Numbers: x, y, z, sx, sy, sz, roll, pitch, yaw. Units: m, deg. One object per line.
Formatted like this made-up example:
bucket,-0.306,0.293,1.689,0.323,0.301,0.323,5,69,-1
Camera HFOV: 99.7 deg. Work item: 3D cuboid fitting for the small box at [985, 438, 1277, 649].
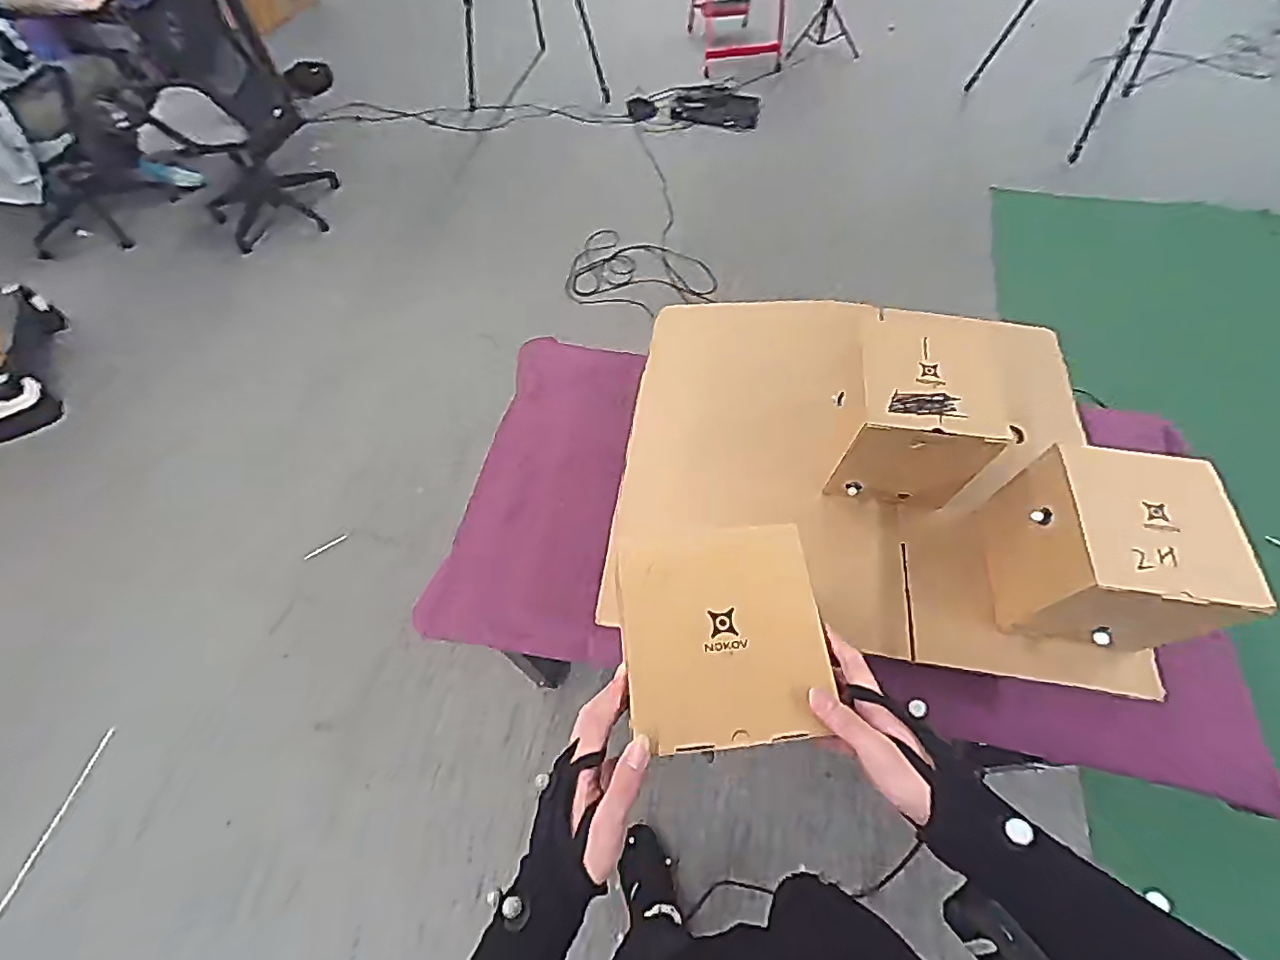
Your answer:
small box,0.534,0.078,0.627,0.168,0.176,0.179,8,60,4

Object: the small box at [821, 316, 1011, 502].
small box,0.349,-0.088,0.721,0.168,0.176,0.179,8,60,3

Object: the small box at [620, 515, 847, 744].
small box,0.067,0.148,0.513,0.168,0.176,0.179,-4,66,-4
